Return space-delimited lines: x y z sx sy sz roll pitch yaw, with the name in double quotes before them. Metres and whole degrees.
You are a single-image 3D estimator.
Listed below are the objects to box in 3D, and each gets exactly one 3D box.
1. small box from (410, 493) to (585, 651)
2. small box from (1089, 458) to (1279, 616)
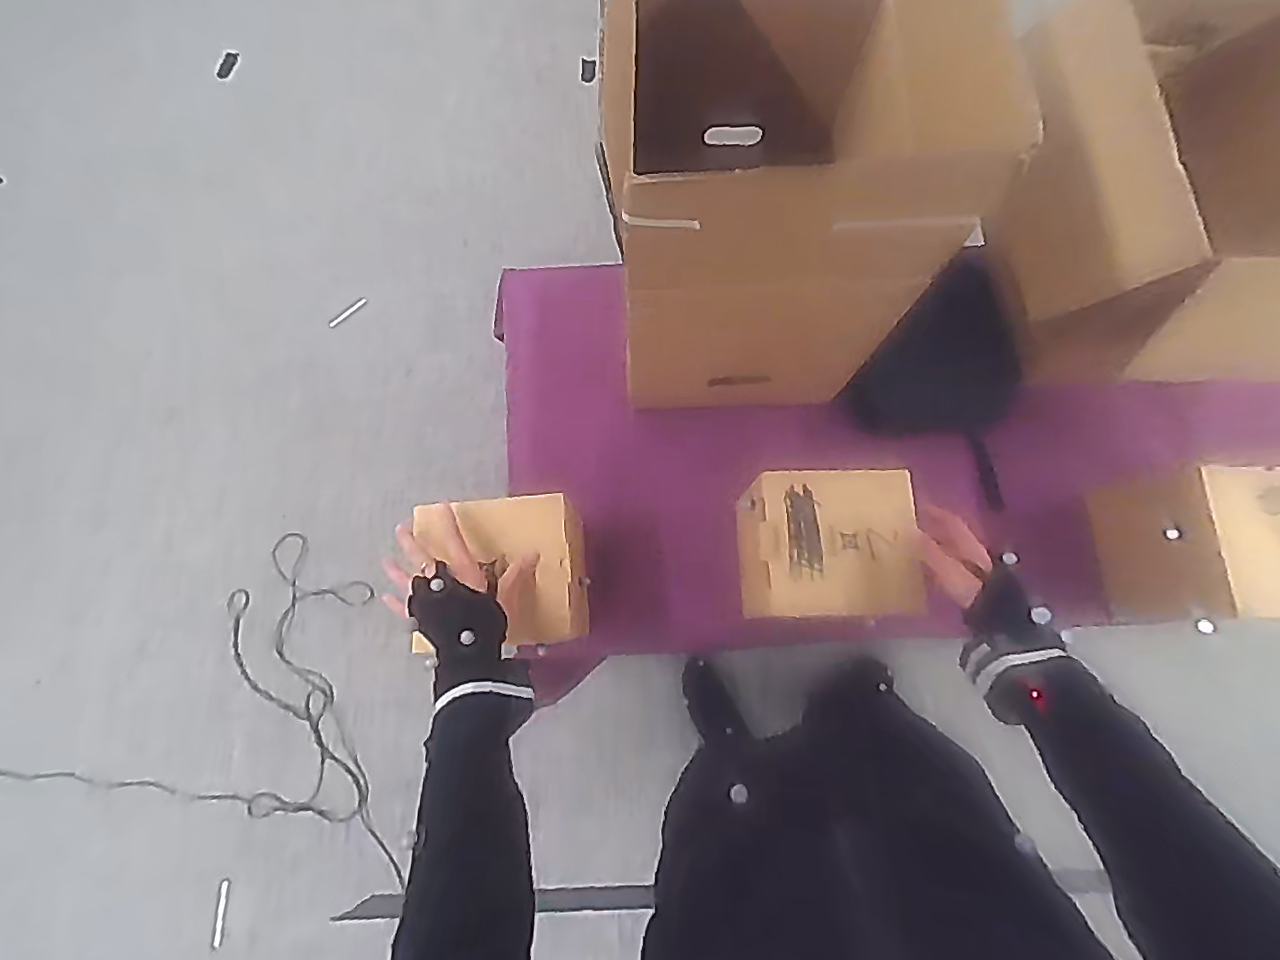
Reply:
"small box" -0.168 0.122 0.679 0.179 0.176 0.168 -5 75 -2
"small box" 0.719 0.080 0.681 0.168 0.176 0.179 -1 76 1
